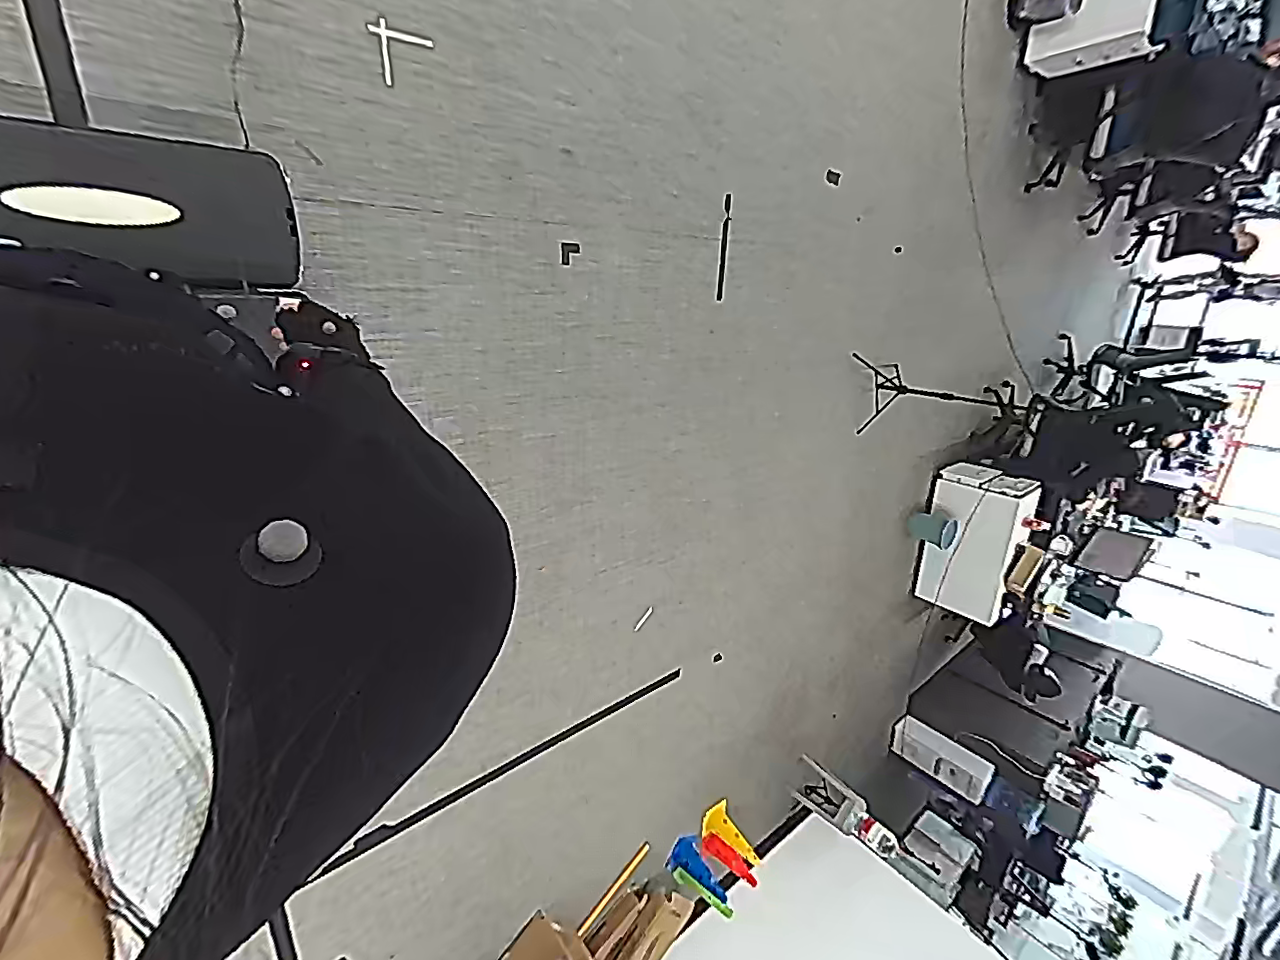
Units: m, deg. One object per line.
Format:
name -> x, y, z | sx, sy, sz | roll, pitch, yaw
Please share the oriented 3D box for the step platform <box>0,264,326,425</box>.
step platform -> -1.047, -0.289, 1.120 | 0.684, 0.204, 0.286 | -14, 113, -35
